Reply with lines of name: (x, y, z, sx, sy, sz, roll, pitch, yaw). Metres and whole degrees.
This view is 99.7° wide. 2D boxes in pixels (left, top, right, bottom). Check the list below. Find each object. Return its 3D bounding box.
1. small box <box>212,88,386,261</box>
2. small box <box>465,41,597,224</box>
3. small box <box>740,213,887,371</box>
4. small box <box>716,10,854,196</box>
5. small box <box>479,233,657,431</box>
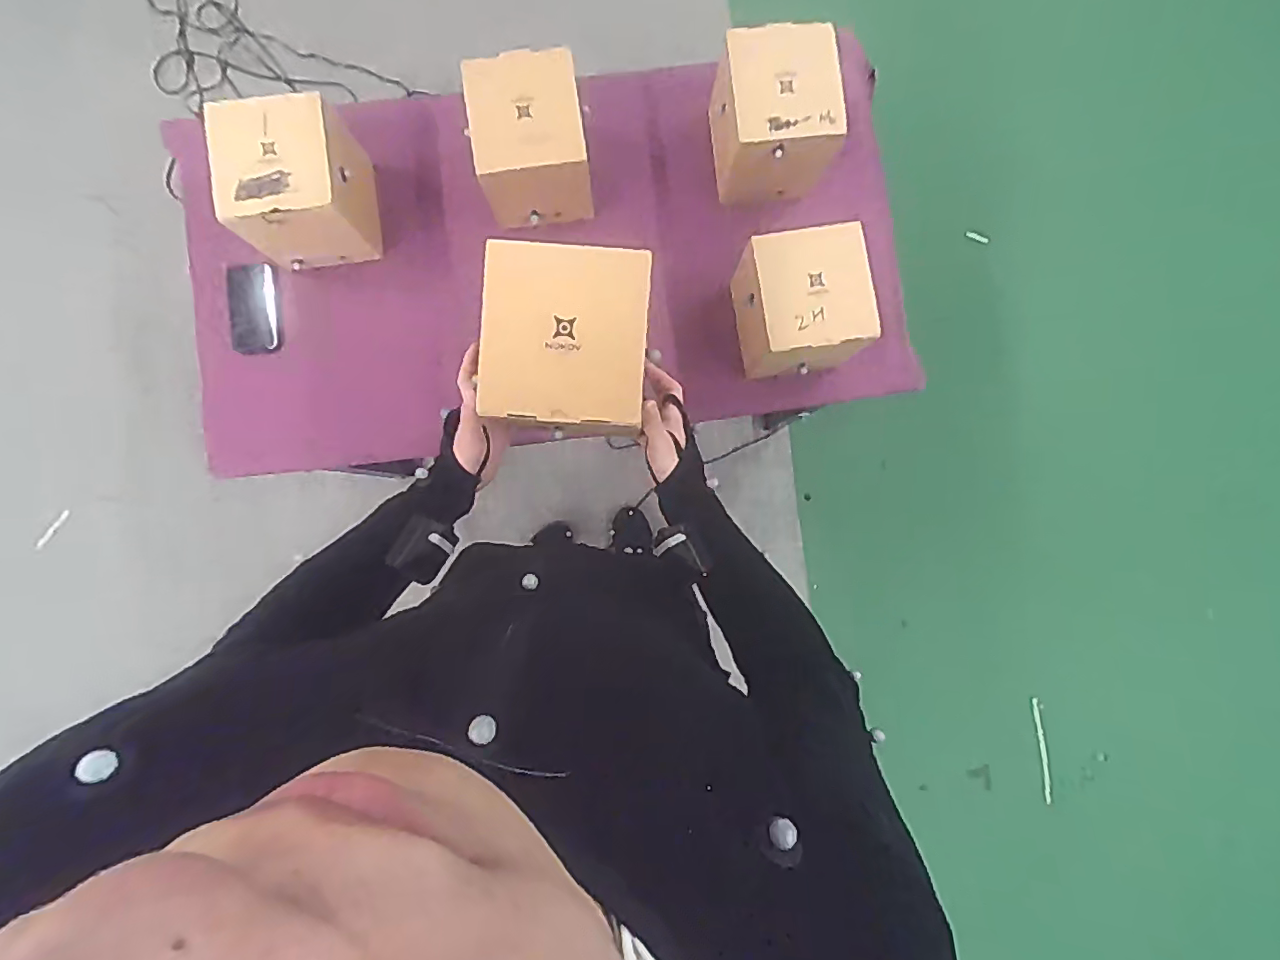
small box: (-0.521, -0.463, 0.851, 0.168, 0.176, 0.179, -8, 87, -2)
small box: (-0.164, -0.541, 0.862, 0.168, 0.176, 0.179, -8, 89, 0)
small box: (0.260, -0.285, 0.852, 0.168, 0.176, 0.179, -9, 88, 0)
small box: (0.221, -0.592, 0.868, 0.168, 0.176, 0.179, -6, 87, 0)
small box: (-0.073, -0.152, 0.612, 0.168, 0.176, 0.179, 4, 93, -1)
